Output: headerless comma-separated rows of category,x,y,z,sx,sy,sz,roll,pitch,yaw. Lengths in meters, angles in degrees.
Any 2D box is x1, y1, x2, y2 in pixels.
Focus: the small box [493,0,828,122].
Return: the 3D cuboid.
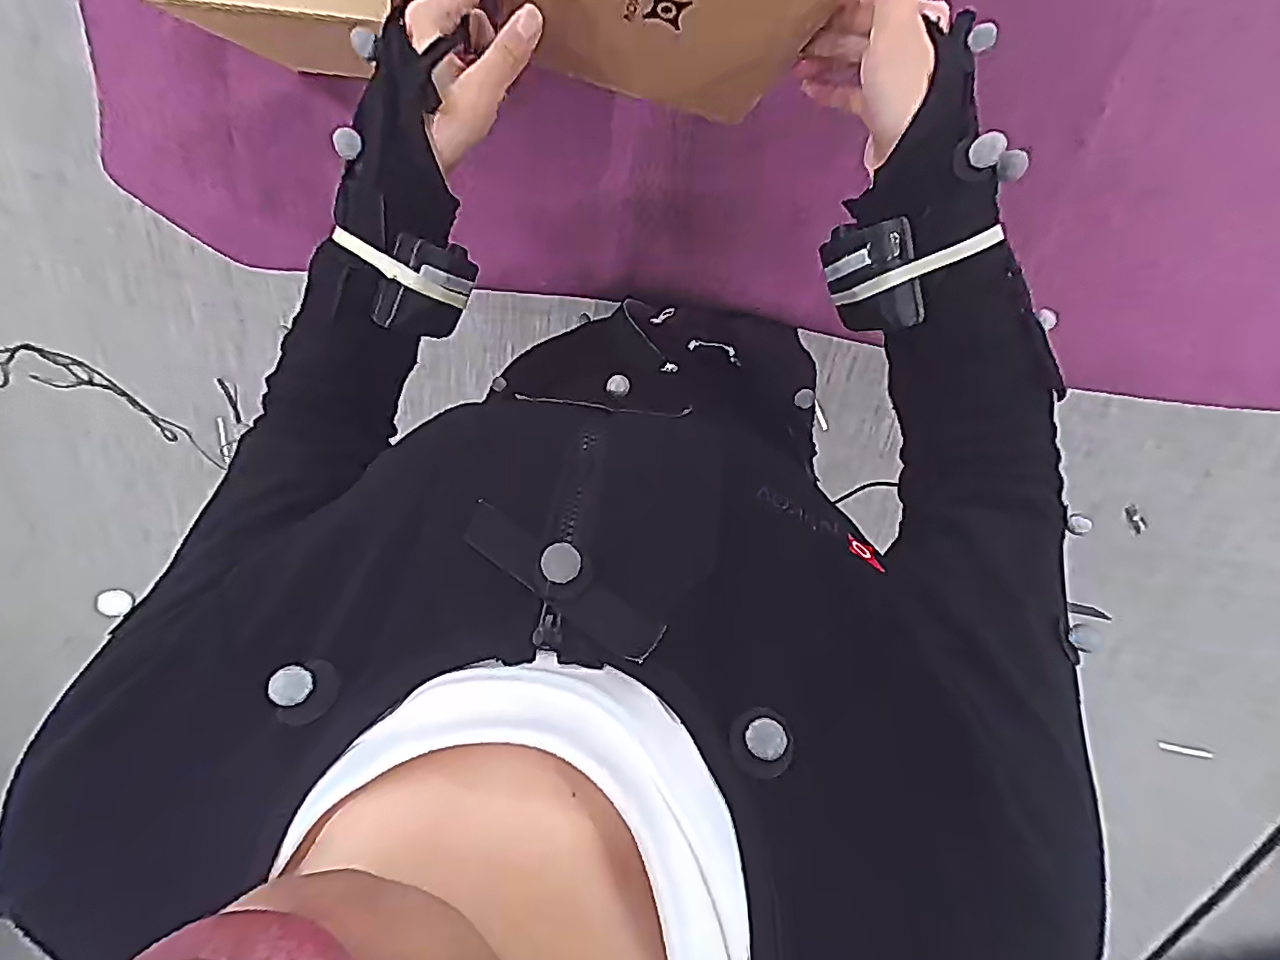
small box,0.018,-0.345,0.292,0.179,0.168,0.176,7,92,-15
